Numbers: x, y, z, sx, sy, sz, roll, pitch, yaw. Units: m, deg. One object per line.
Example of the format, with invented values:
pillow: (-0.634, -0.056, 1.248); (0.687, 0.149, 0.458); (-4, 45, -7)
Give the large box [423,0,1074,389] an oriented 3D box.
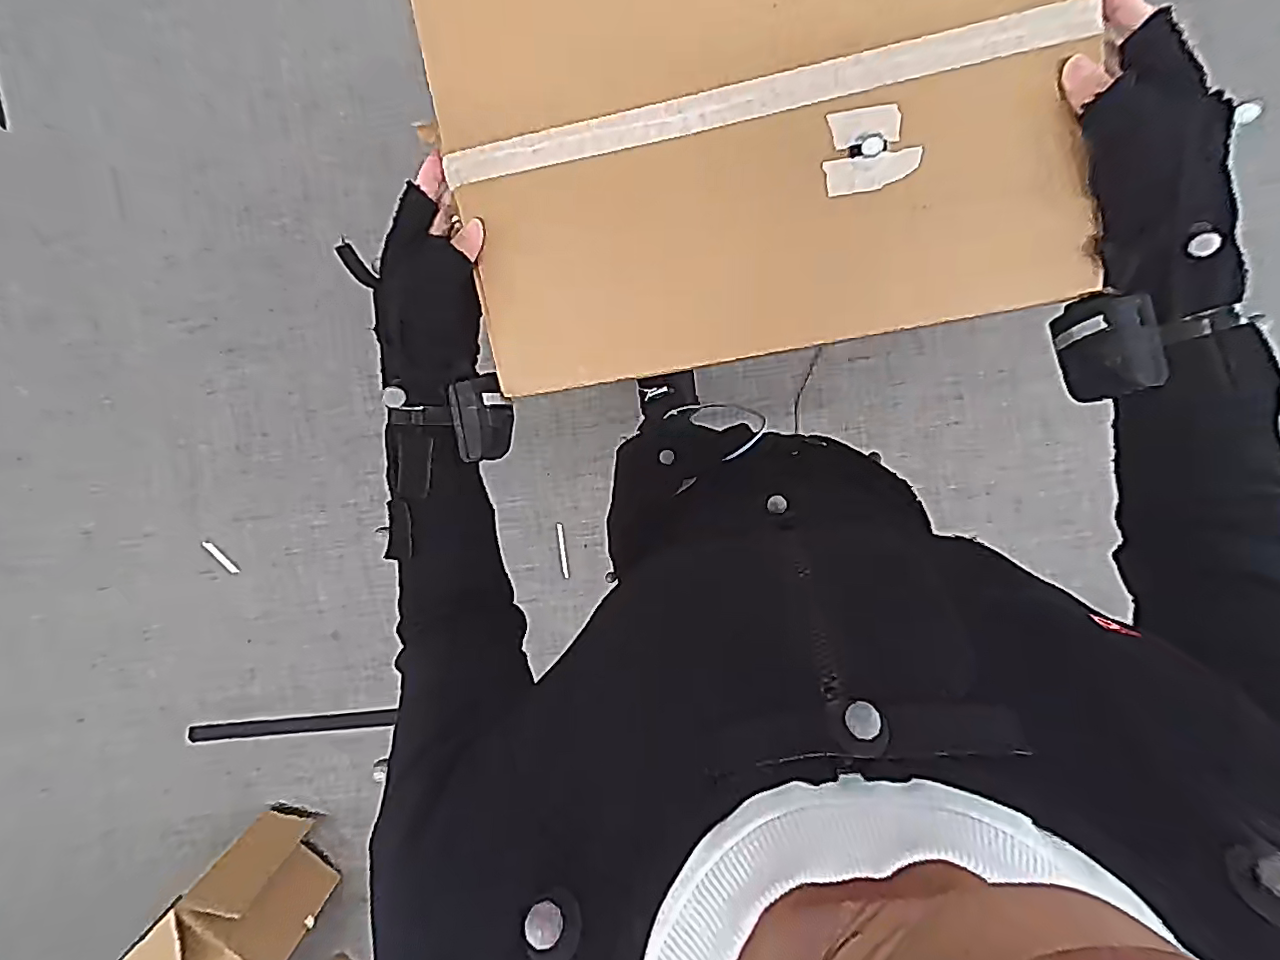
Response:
large box: (0.080, -0.279, 0.502); (0.408, 0.320, 0.320); (-9, 102, 6)
